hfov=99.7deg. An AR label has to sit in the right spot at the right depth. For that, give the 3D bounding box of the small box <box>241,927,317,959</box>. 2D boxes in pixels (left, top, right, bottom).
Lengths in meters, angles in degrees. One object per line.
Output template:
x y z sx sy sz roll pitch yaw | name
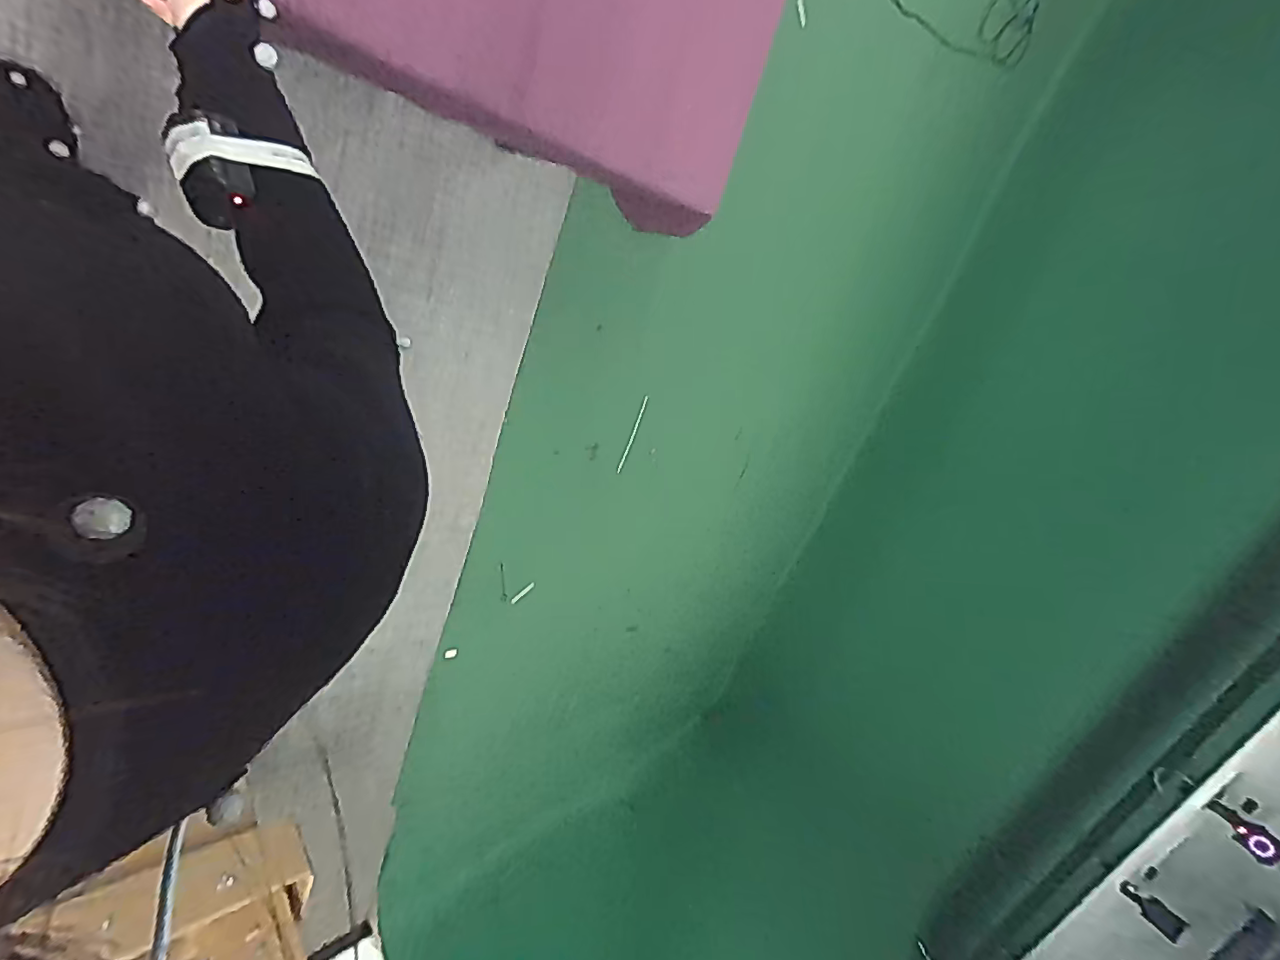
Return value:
-0.888 1.247 1.300 0.179 0.176 0.168 -1 119 -46 | small box
